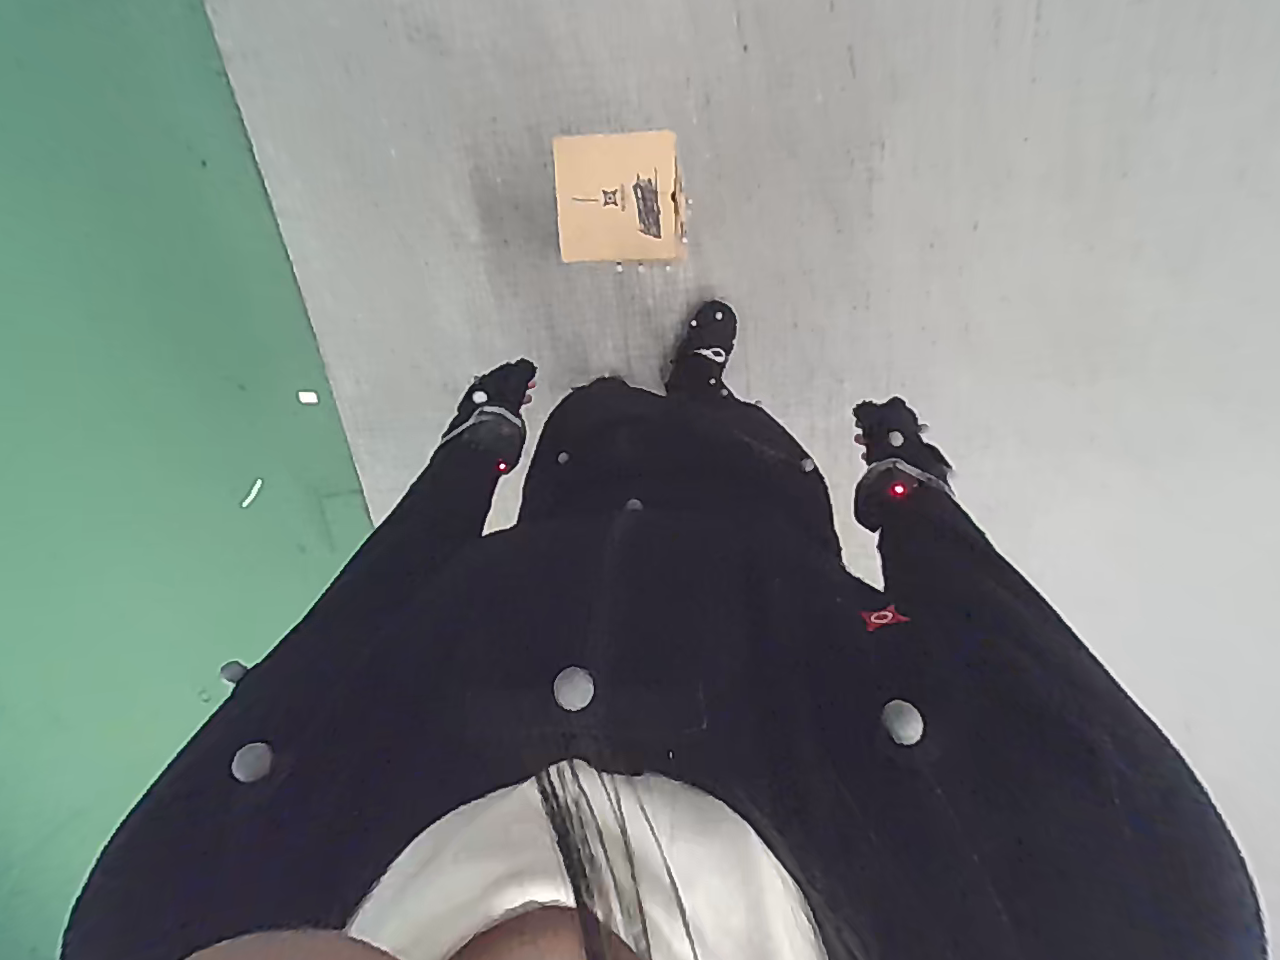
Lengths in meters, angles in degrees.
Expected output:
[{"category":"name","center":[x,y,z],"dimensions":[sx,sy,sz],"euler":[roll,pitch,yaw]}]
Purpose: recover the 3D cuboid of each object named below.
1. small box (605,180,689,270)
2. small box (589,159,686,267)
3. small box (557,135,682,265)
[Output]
[{"category":"small box","center":[0.016,-0.545,1.161],"dimensions":[0.179,0.176,0.168],"euler":[-2,110,8]},{"category":"small box","center":[-0.004,-0.490,1.008],"dimensions":[0.179,0.176,0.168],"euler":[-1,111,6]},{"category":"small box","center":[-0.023,-0.432,0.854],"dimensions":[0.179,0.176,0.168],"euler":[1,111,6]}]
